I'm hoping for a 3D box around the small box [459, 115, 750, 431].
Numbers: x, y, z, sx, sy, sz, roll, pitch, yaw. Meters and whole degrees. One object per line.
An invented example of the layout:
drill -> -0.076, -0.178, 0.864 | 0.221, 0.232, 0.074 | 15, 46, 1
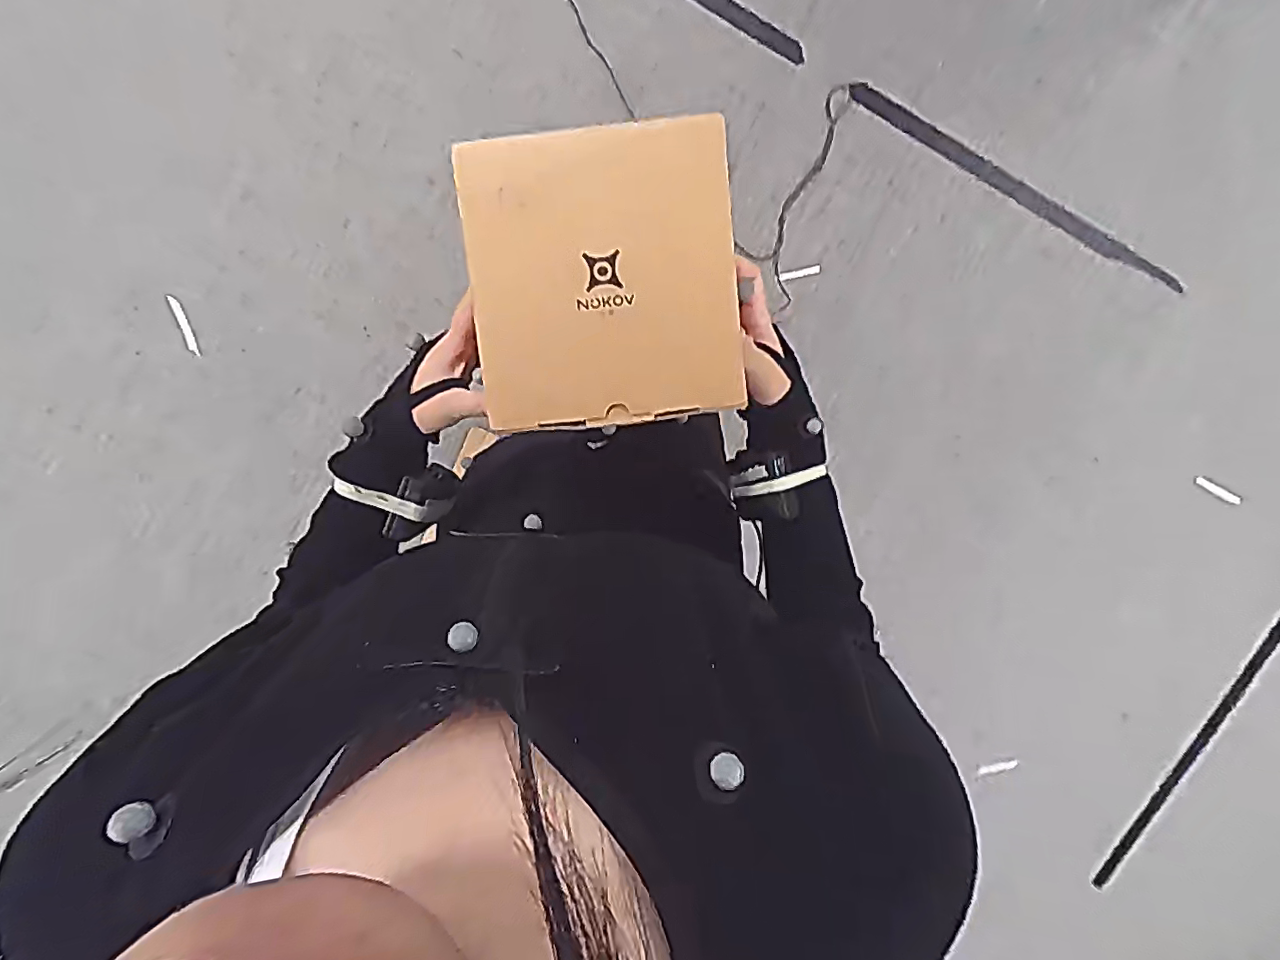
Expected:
small box -> -0.021, -0.134, 0.411 | 0.168, 0.176, 0.179 | -7, 98, 1
